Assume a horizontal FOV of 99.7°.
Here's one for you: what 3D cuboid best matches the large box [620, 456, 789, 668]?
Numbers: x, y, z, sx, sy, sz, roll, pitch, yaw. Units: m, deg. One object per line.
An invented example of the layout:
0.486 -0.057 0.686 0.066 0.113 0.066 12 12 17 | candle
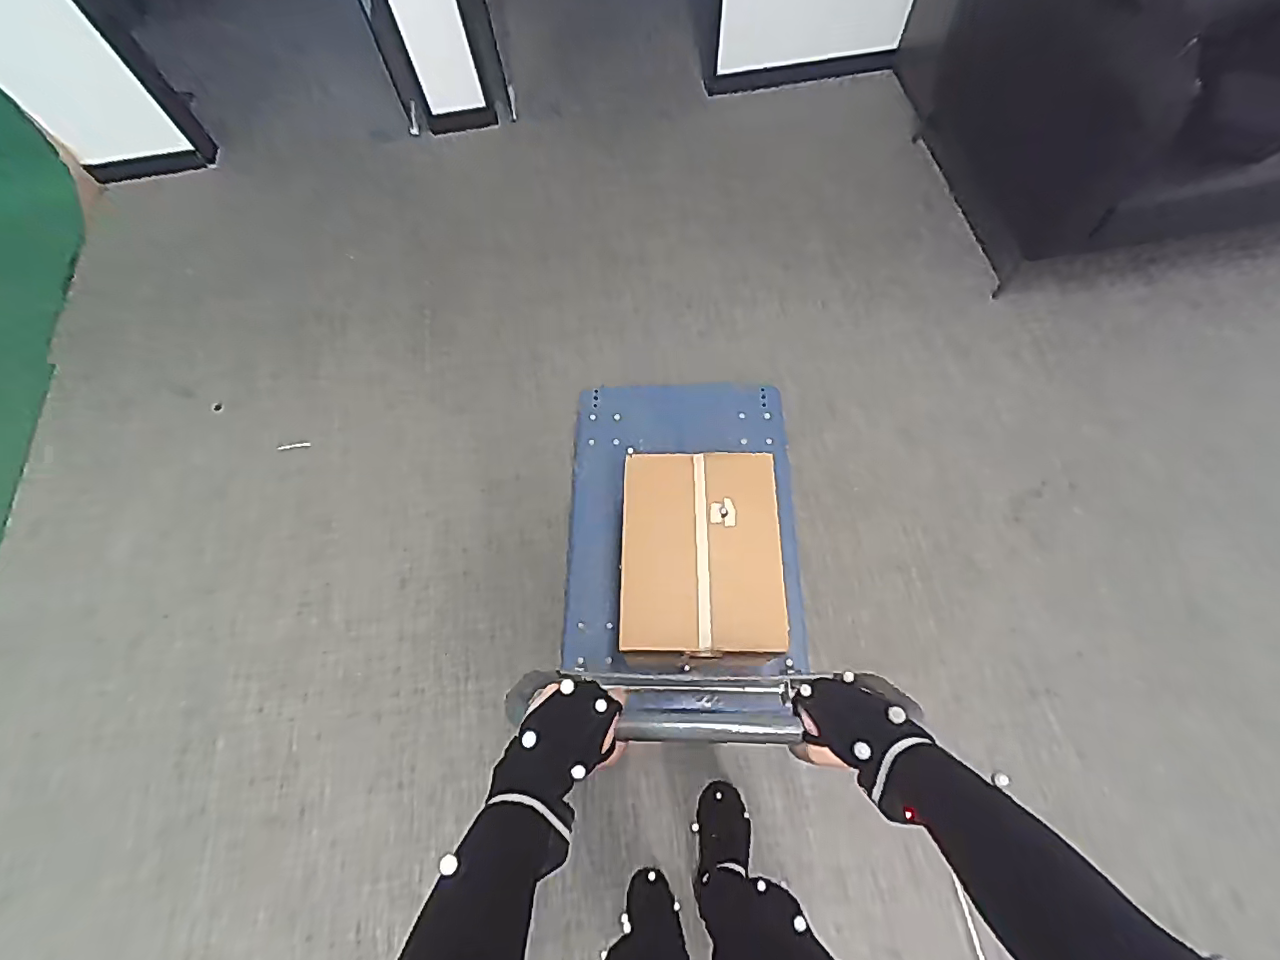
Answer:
0.125 0.194 1.206 0.320 0.320 0.408 0 66 1 | large box
